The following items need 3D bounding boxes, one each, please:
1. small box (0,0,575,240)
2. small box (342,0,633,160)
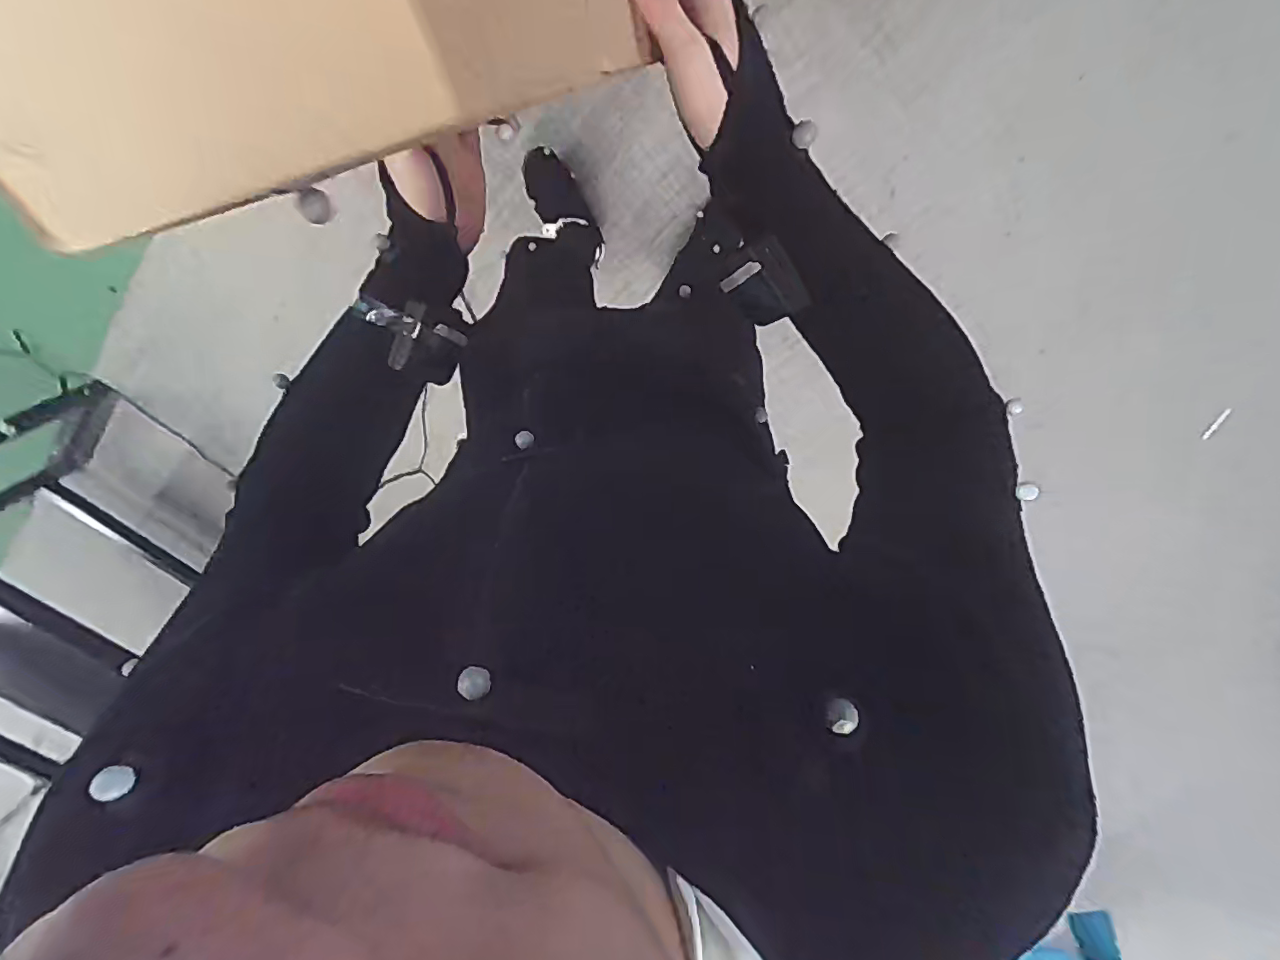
[{"bbox_3d":[-0.146,-0.207,0.187,0.179,0.176,0.168,-6,128,19],"label":"small box"},{"bbox_3d":[-0.112,-0.311,0.308,0.179,0.176,0.168,-6,127,21],"label":"small box"}]
